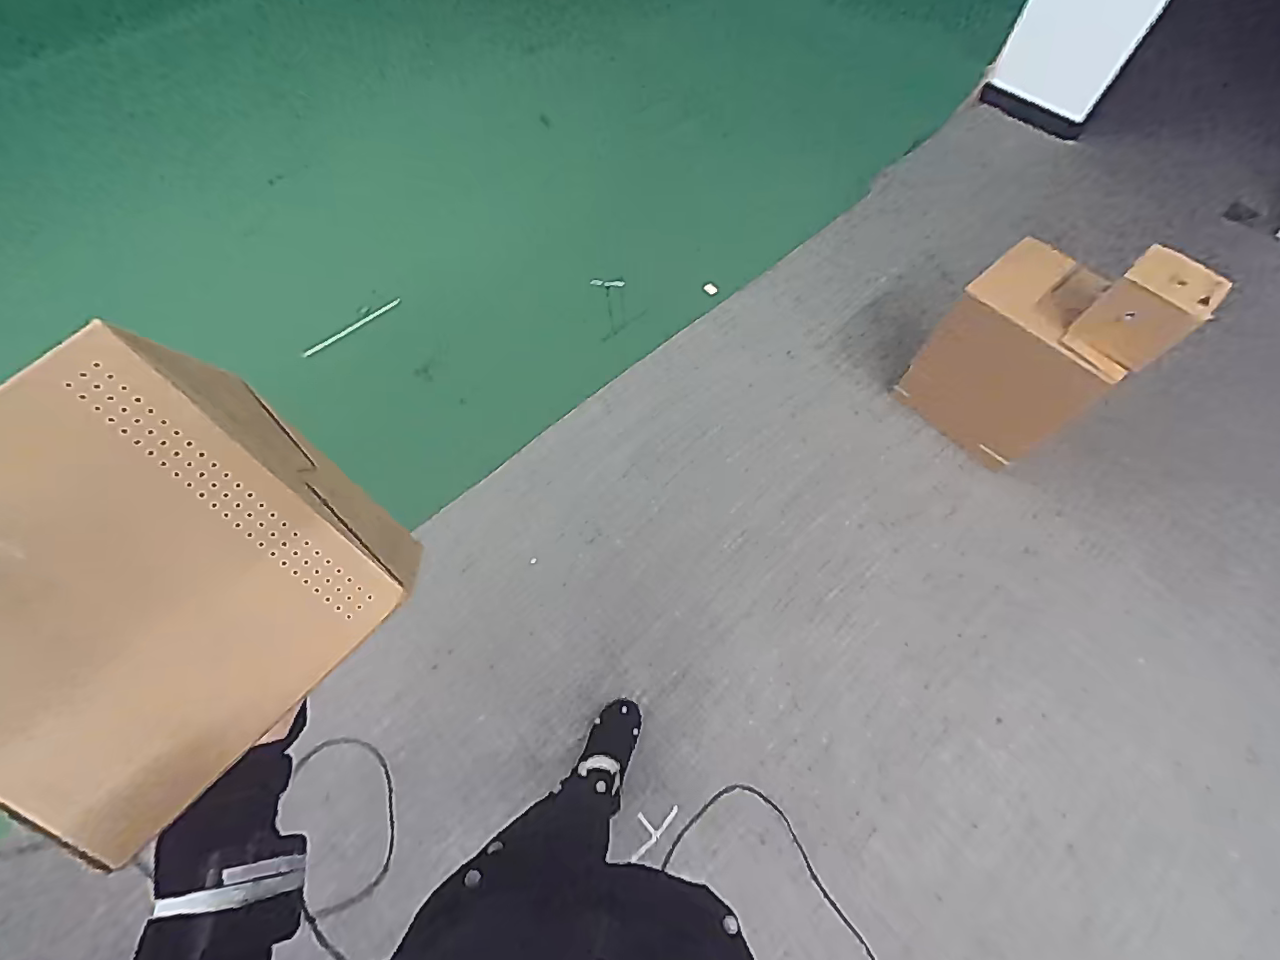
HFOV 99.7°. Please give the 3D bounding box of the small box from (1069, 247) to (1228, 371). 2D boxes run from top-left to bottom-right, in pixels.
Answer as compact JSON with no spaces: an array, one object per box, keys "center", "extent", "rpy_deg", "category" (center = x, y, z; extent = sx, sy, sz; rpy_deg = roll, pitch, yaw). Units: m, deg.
[{"center":[1.142,-0.383,1.230],"extent":[0.168,0.176,0.179],"rpy_deg":[-39,69,-18],"category":"small box"}]
